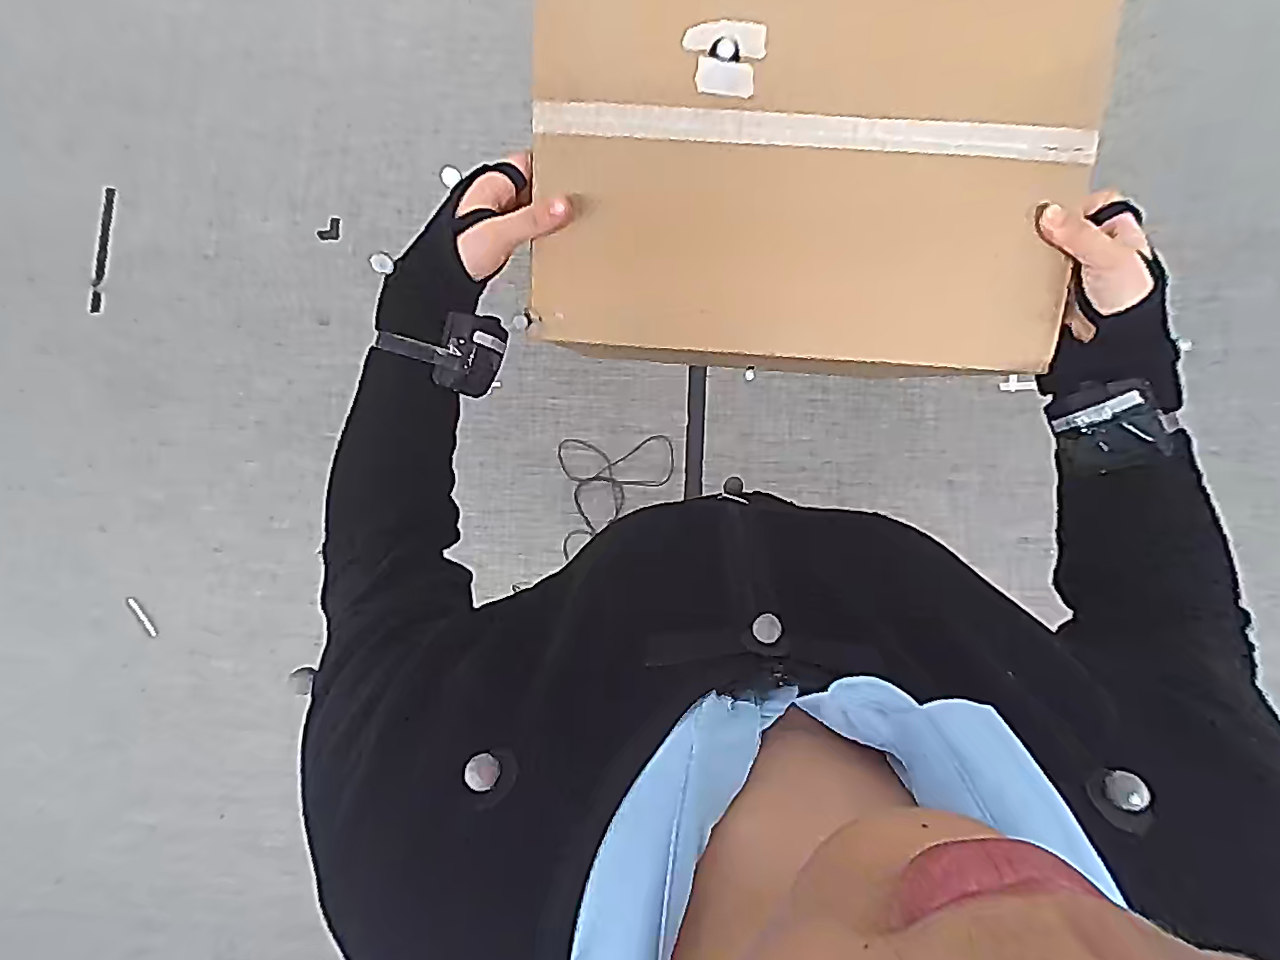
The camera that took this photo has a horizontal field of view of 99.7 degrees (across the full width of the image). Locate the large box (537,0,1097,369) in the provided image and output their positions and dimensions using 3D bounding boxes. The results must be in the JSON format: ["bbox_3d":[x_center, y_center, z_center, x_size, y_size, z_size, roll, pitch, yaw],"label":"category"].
[{"bbox_3d":[0.130,-0.277,0.554,0.408,0.320,0.320,3,99,3],"label":"large box"}]
